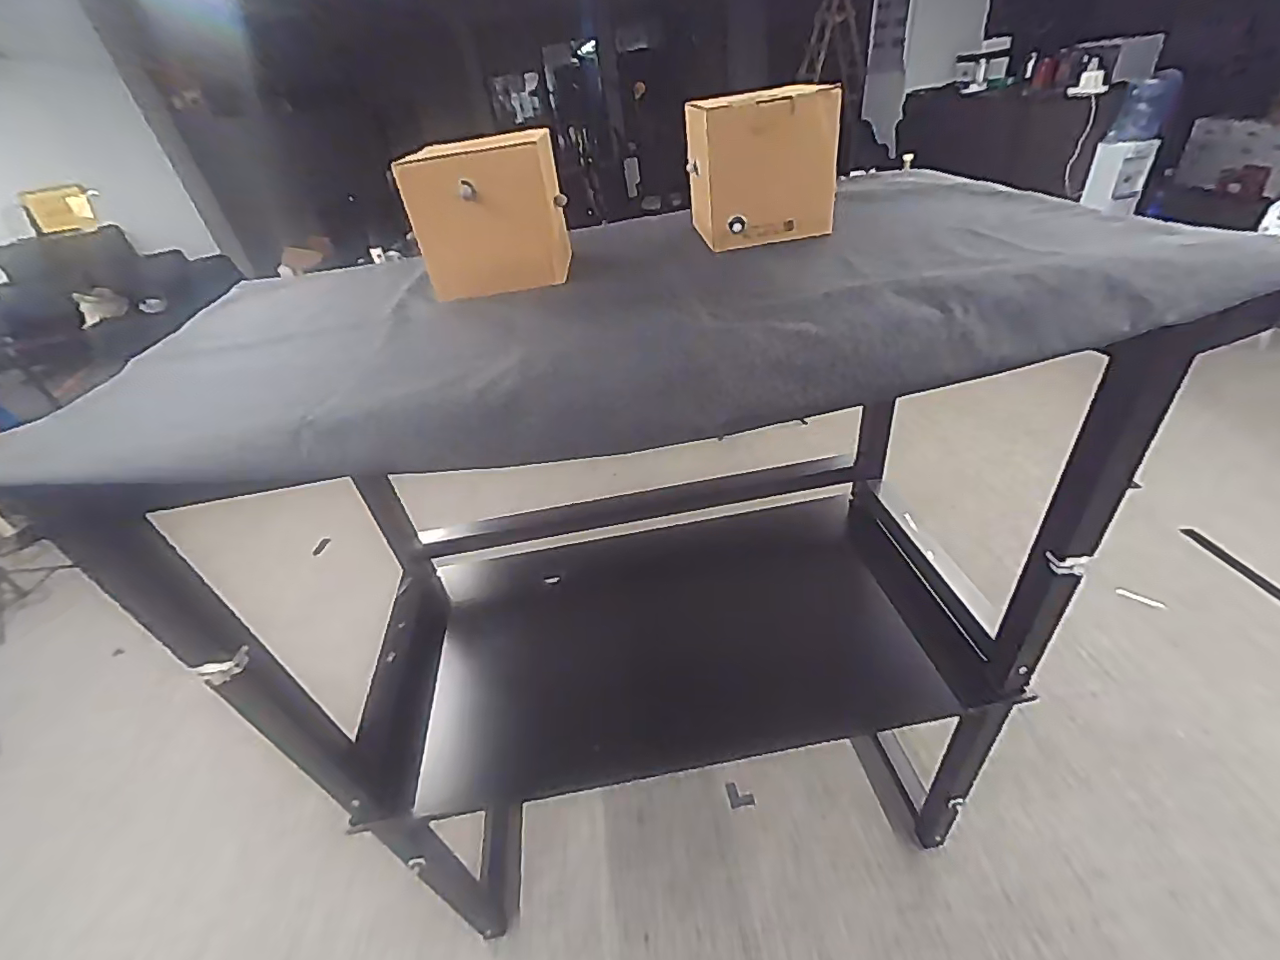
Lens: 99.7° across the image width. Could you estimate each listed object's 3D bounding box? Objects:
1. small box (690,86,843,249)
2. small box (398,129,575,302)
[{"bbox_3d":[0.169,-0.434,0.758,0.168,0.176,0.179,-8,36,1],"label":"small box"},{"bbox_3d":[-0.190,-0.359,0.735,0.179,0.176,0.168,-7,37,3],"label":"small box"}]
